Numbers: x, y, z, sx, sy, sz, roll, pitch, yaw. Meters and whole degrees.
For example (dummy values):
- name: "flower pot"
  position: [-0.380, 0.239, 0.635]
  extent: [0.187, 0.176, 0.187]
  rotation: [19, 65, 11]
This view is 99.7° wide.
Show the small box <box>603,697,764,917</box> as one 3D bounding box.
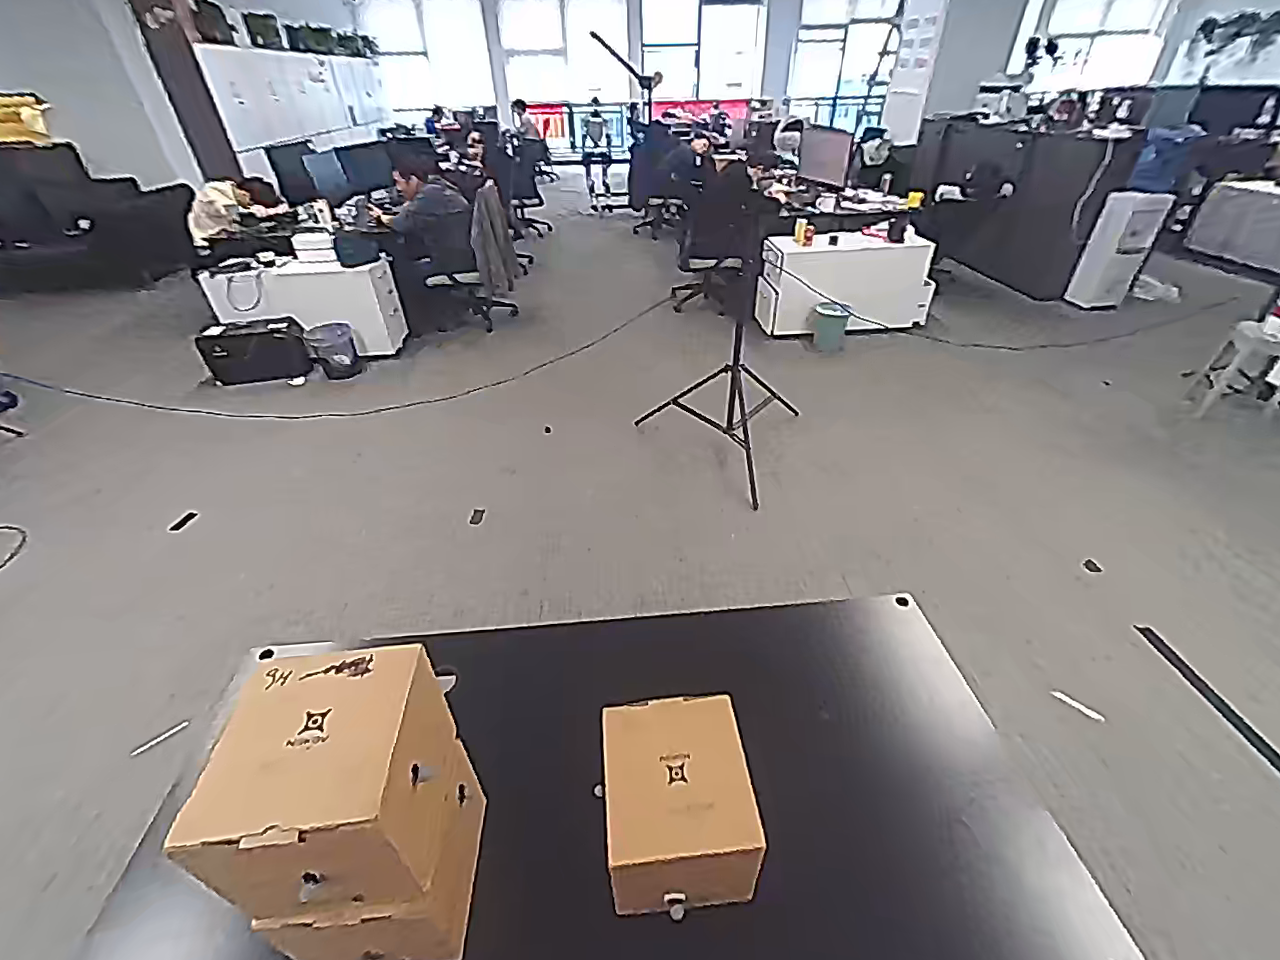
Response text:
- name: "small box"
  position: [0.044, 0.401, 0.670]
  extent: [0.168, 0.176, 0.179]
  rotation: [-6, 37, -3]

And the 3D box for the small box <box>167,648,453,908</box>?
- name: "small box"
  position: [-0.298, 0.299, 0.544]
  extent: [0.168, 0.176, 0.179]
  rotation: [-5, 37, -4]

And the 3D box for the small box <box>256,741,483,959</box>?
- name: "small box"
  position: [-0.291, 0.437, 0.633]
  extent: [0.168, 0.176, 0.179]
  rotation: [-3, 36, -2]
